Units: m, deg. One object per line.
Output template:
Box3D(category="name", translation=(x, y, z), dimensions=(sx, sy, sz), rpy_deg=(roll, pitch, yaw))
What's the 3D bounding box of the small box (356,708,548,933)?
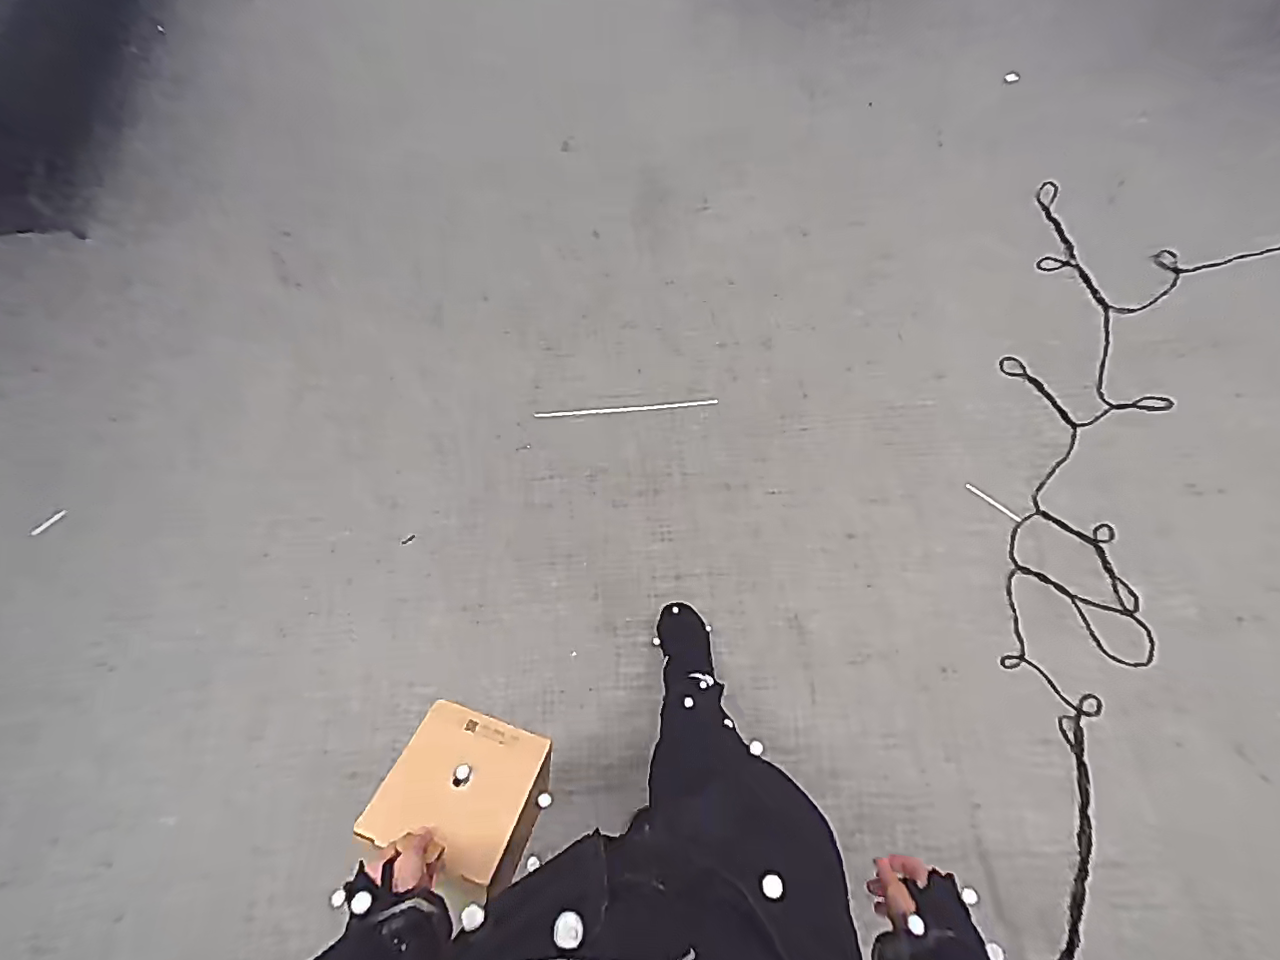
Box3D(category="small box", translation=(-0.226, 0.427, 0.692), dimensions=(0.168, 0.179, 0.176), rpy_deg=(16, 37, 7))
